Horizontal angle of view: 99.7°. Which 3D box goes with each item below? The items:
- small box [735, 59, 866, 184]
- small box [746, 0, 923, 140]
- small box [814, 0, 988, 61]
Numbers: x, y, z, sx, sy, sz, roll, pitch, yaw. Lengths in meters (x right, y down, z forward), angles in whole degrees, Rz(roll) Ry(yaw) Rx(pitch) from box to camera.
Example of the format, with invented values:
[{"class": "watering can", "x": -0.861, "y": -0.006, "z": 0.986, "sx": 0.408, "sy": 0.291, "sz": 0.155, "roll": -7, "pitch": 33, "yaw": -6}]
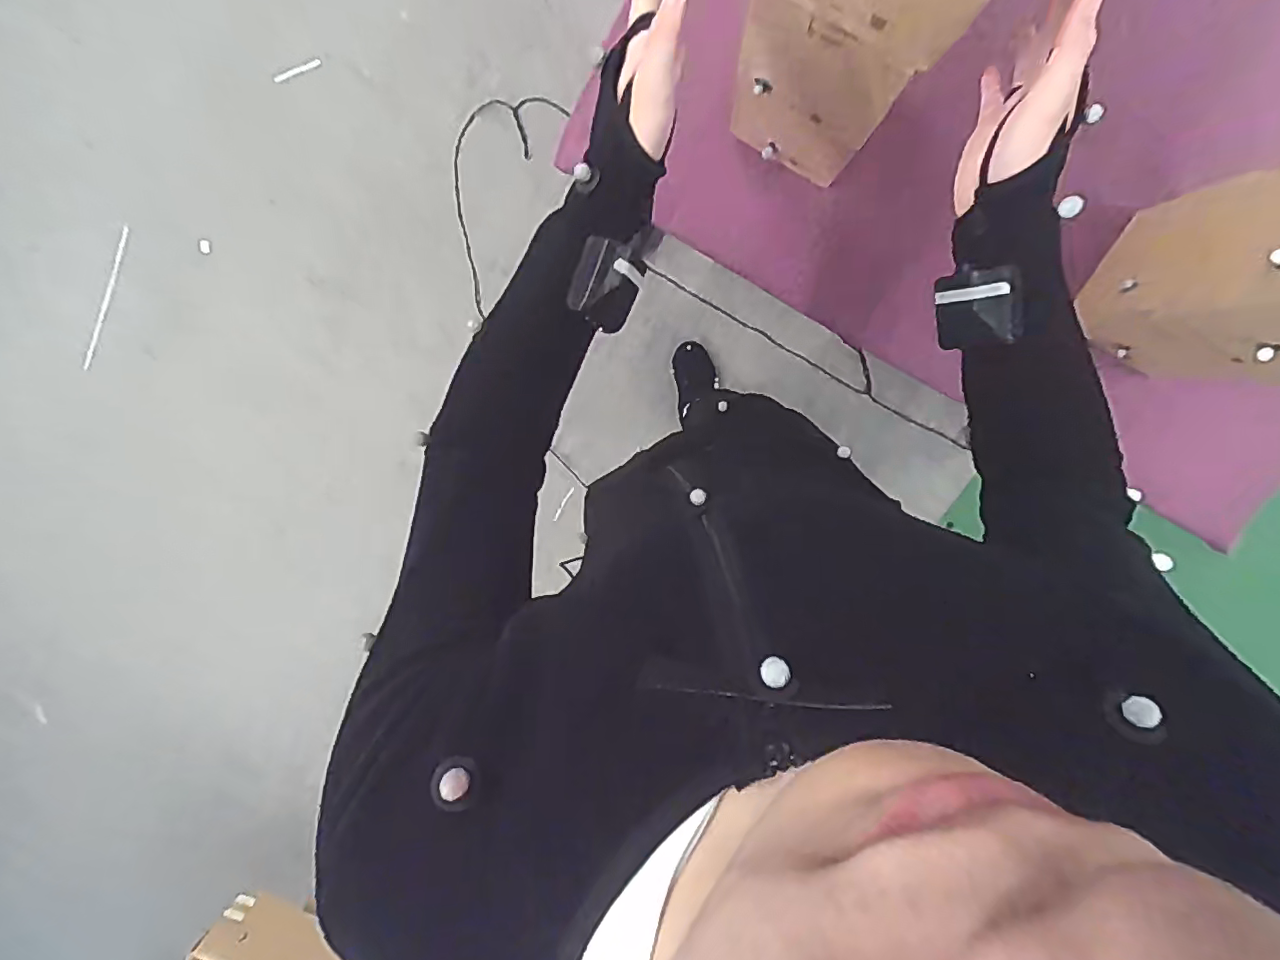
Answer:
[{"class": "small box", "x": 0.232, "y": -0.517, "z": 0.680, "sx": 0.168, "sy": 0.176, "sz": 0.179, "roll": 29, "pitch": 102, "yaw": -2}, {"class": "small box", "x": 0.216, "y": -0.476, "z": 0.522, "sx": 0.168, "sy": 0.176, "sz": 0.179, "roll": 29, "pitch": 101, "yaw": -2}, {"class": "small box", "x": 0.209, "y": -0.442, "z": 0.364, "sx": 0.168, "sy": 0.176, "sz": 0.179, "roll": 27, "pitch": 101, "yaw": -1}]
